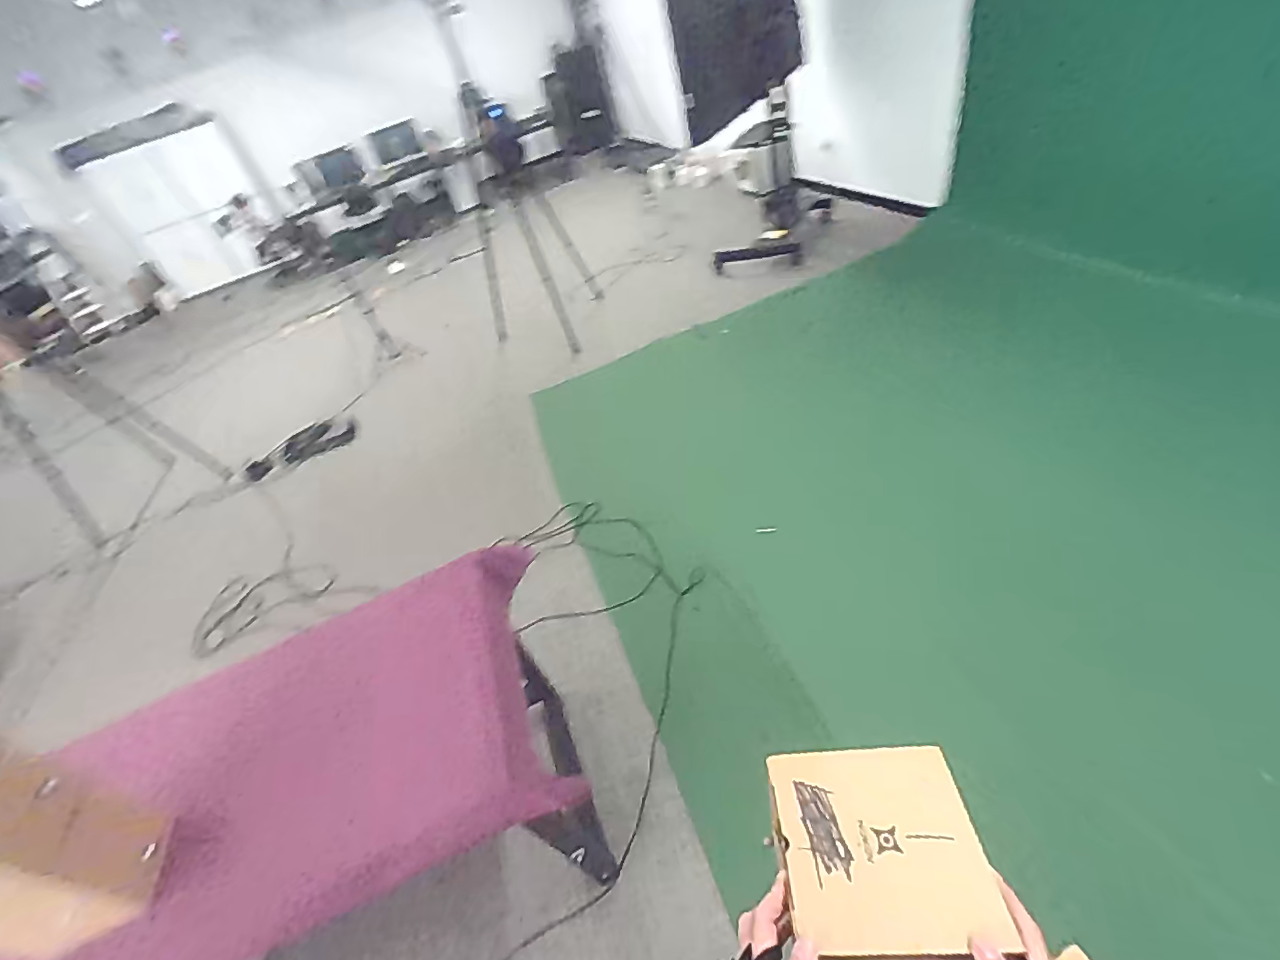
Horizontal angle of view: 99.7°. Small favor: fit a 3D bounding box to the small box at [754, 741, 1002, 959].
[{"bbox_3d":[0.217,0.390,0.542,0.179,0.176,0.168,-7,36,6],"label":"small box"}]
